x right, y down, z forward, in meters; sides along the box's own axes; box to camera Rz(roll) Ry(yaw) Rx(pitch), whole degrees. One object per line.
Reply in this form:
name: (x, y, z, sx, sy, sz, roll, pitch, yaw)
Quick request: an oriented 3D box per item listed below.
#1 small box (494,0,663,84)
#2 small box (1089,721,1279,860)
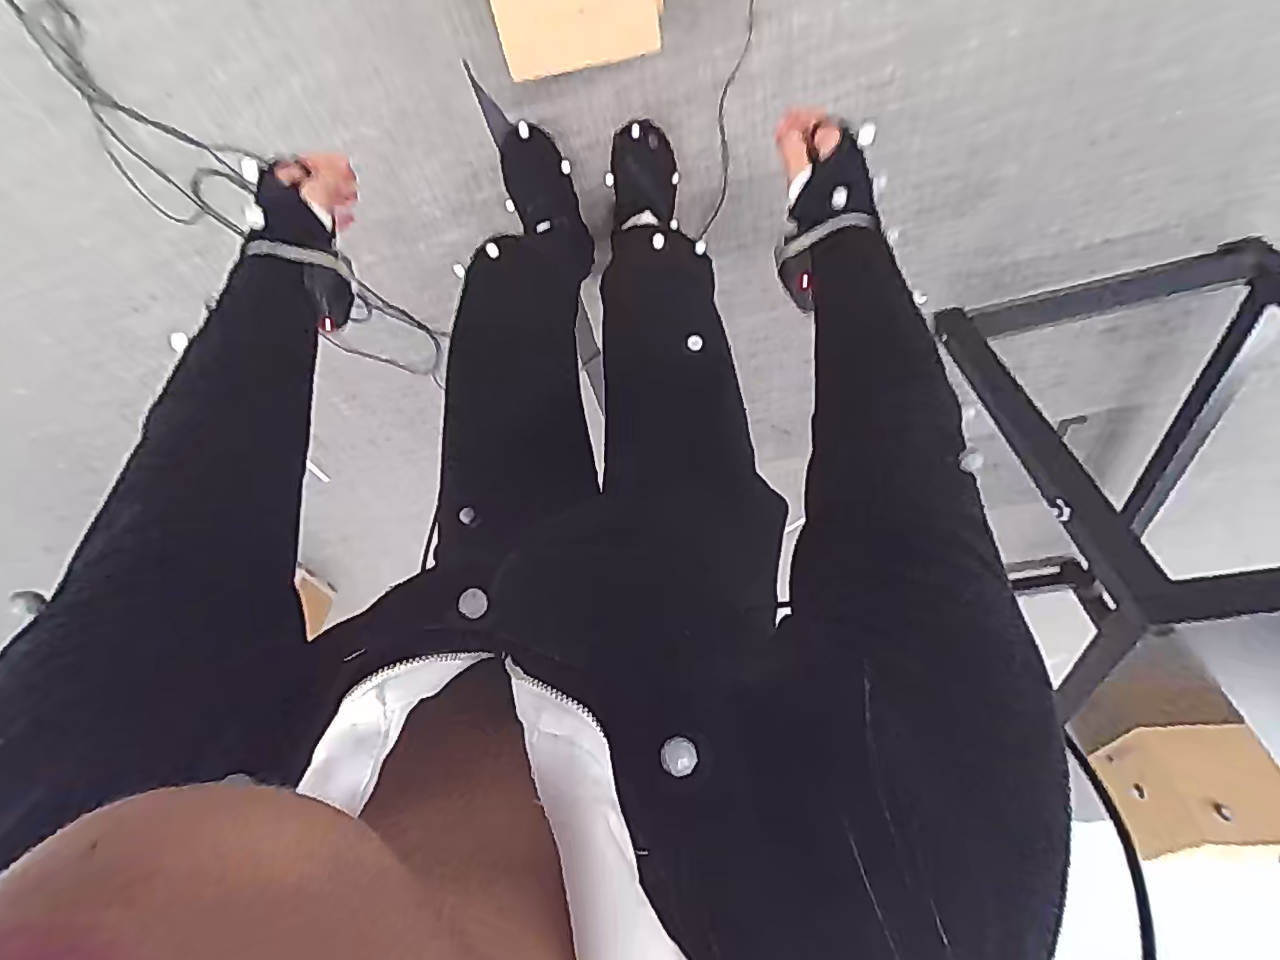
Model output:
small box: (-0.070, -0.559, 0.575, 0.168, 0.176, 0.179, -6, 138, 8)
small box: (0.913, 0.515, 0.900, 0.179, 0.176, 0.168, -4, 137, 3)
